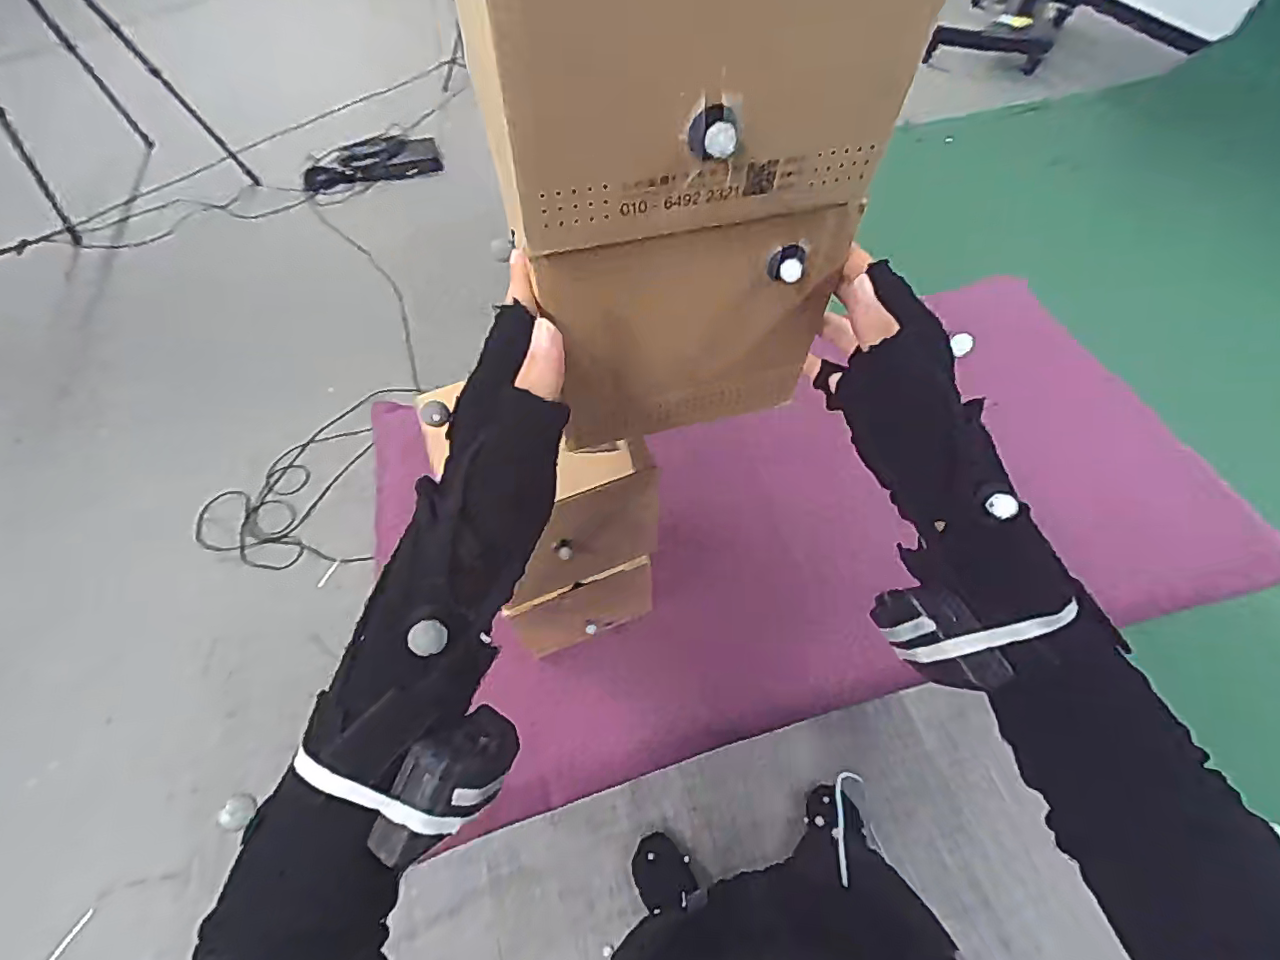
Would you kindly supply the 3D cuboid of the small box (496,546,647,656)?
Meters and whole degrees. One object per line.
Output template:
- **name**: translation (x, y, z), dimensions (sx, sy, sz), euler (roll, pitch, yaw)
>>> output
- **small box**: translation (-0.099, 0.094, 0.683), dimensions (0.168, 0.176, 0.179), euler (-21, 59, -10)

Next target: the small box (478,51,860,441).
- **small box**: translation (0.006, -0.147, 0.362), dimensions (0.179, 0.176, 0.168), euler (-13, 60, -9)

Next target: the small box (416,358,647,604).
- **small box**: translation (-0.100, -0.001, 0.545), dimensions (0.179, 0.176, 0.168), euler (-18, 57, -9)
